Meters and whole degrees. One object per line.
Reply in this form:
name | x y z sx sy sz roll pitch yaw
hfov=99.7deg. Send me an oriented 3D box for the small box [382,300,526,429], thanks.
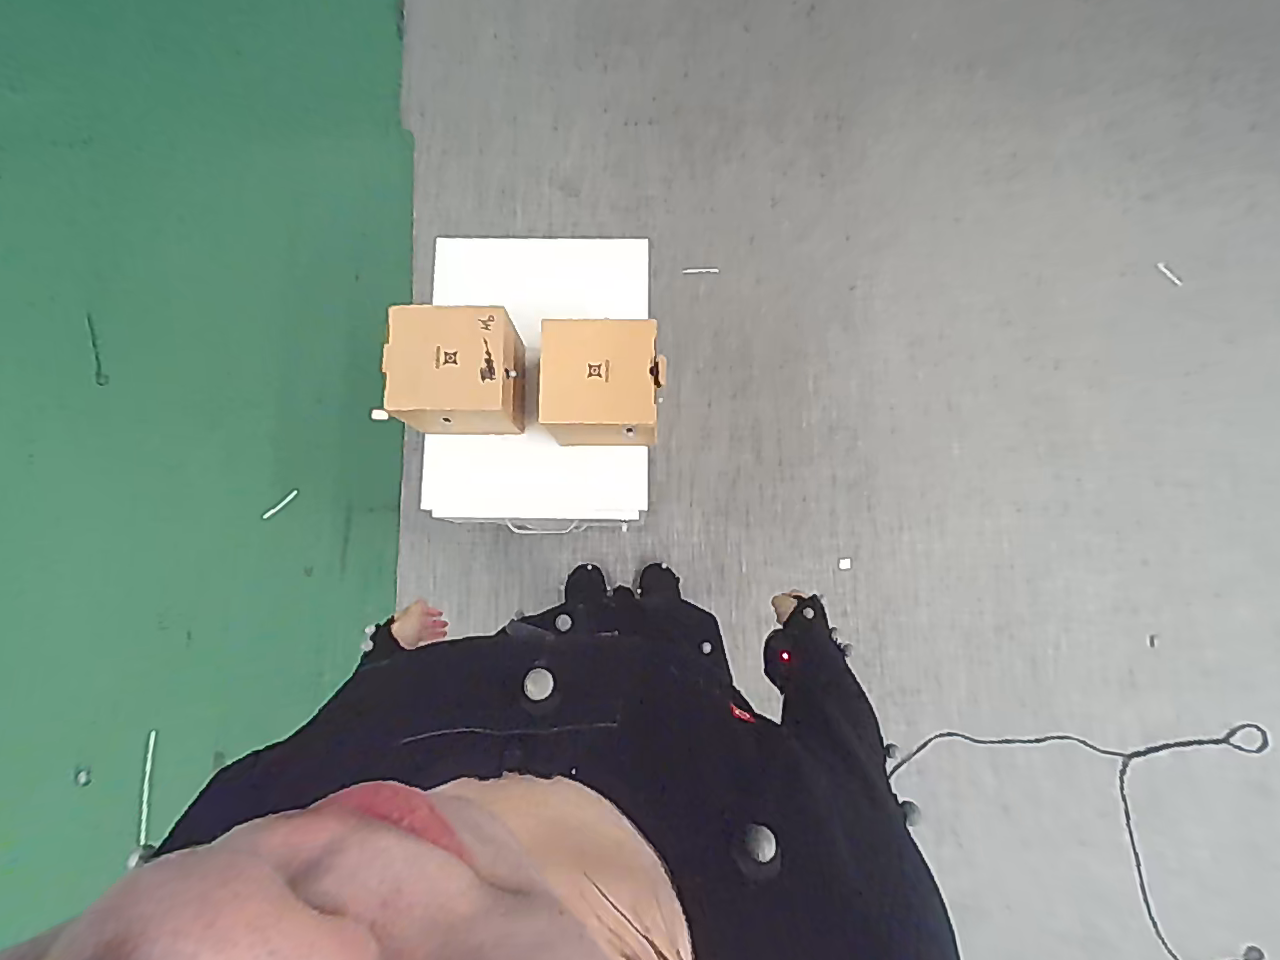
small box | -0.292 -0.179 0.882 0.179 0.176 0.168 0 84 -1
